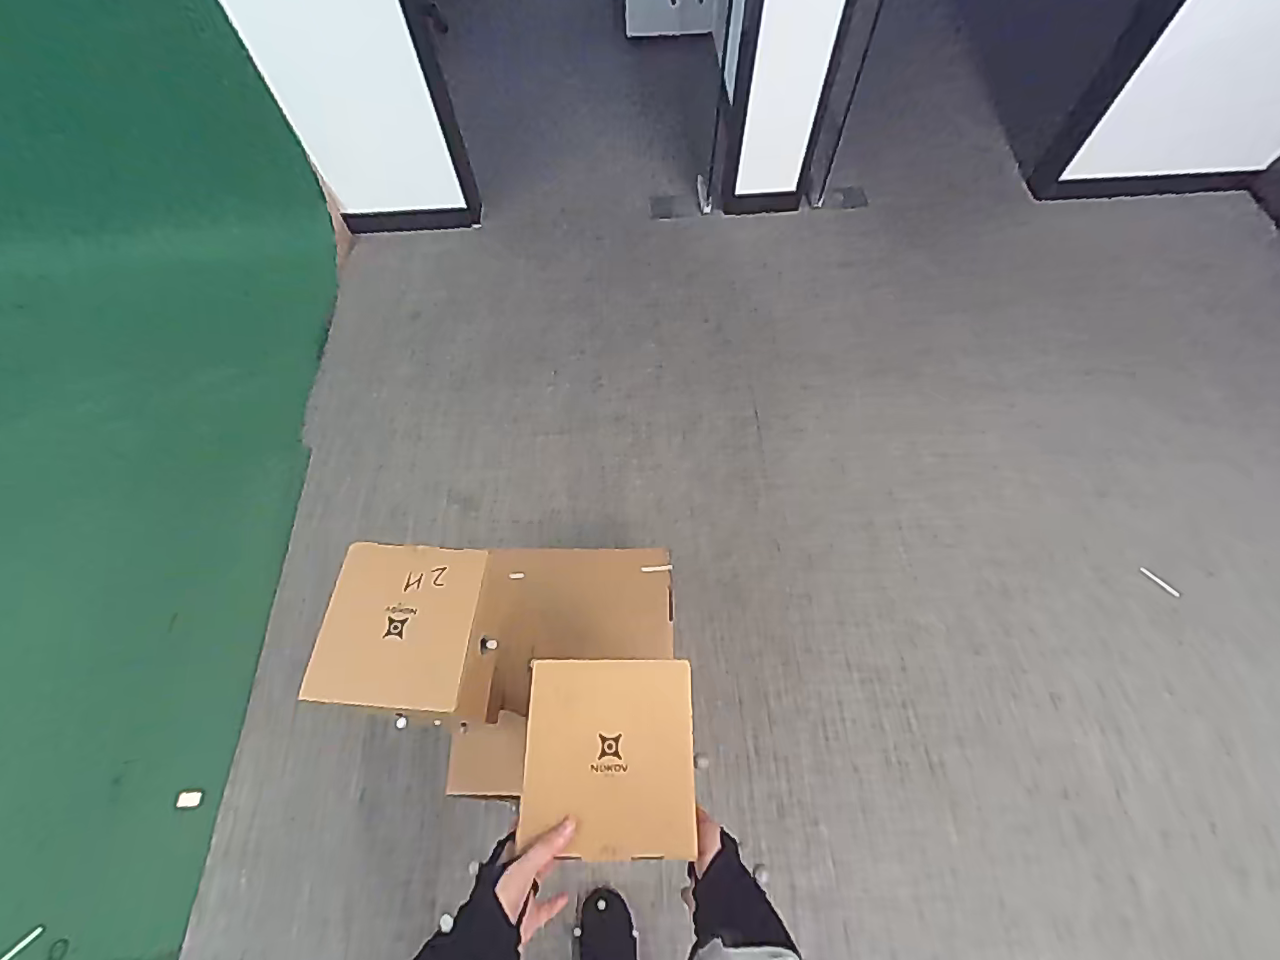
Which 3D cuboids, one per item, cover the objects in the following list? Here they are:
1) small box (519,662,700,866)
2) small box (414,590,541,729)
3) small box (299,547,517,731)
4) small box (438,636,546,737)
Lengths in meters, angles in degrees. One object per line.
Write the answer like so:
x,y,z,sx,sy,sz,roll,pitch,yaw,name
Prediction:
-0.029,0.305,0.592,0.168,0.176,0.179,0,63,-1,small box
-0.255,0.268,0.796,0.179,0.176,0.168,-3,61,2,small box
-0.256,0.197,0.649,0.168,0.176,0.179,4,61,3,small box
-0.262,0.346,0.944,0.168,0.176,0.179,-1,60,0,small box
